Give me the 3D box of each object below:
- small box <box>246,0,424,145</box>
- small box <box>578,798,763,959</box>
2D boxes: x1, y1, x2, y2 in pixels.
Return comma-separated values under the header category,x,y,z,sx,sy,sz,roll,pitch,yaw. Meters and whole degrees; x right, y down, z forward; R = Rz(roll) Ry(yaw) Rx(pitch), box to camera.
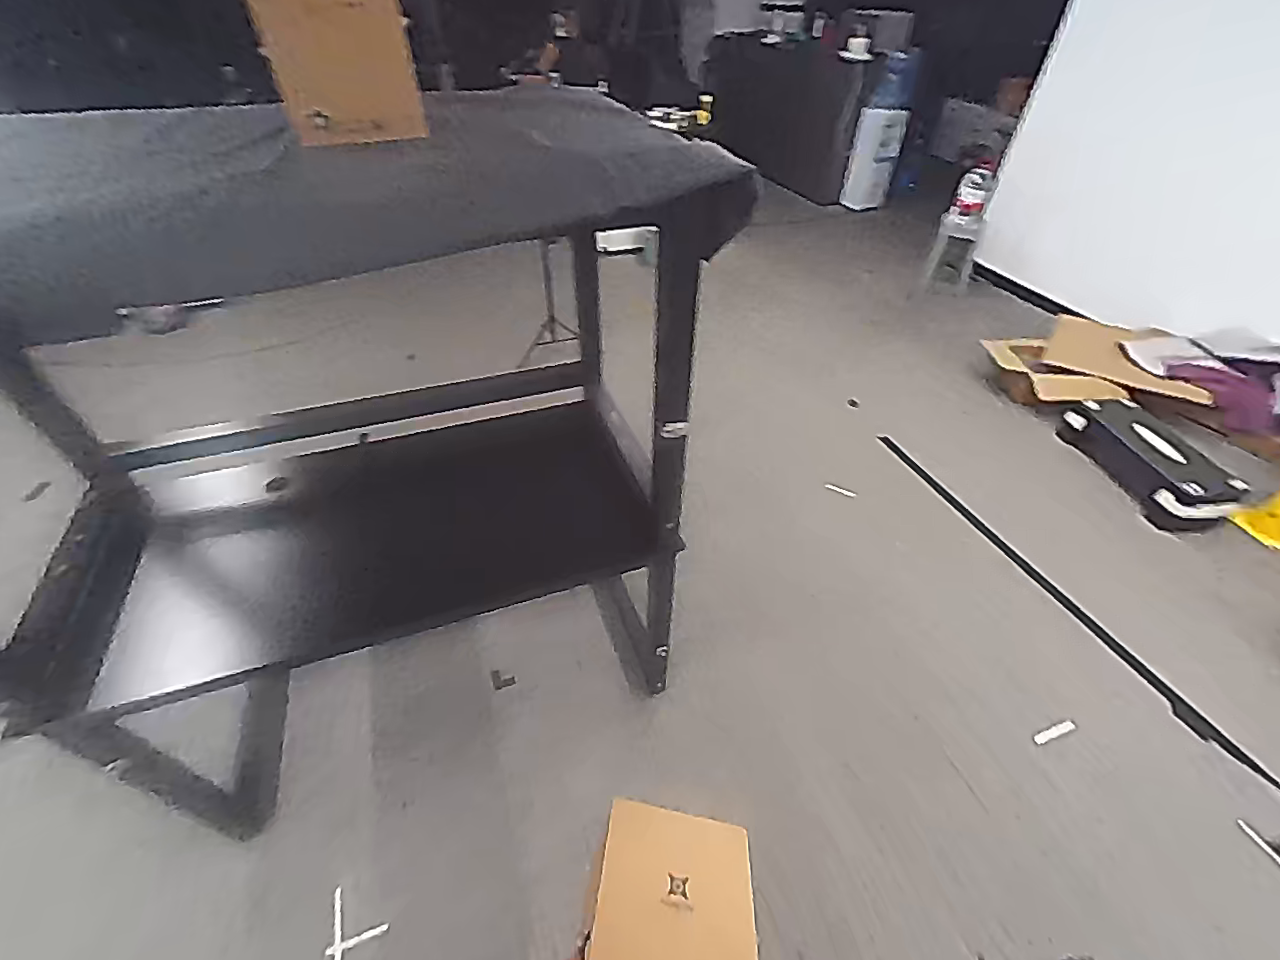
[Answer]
category,x,y,z,sx,sy,sz,roll,pitch,yaw
small box,-0.412,-0.577,0.751,0.168,0.176,0.179,-15,45,-17
small box,0.025,0.499,0.590,0.168,0.176,0.179,14,23,0
